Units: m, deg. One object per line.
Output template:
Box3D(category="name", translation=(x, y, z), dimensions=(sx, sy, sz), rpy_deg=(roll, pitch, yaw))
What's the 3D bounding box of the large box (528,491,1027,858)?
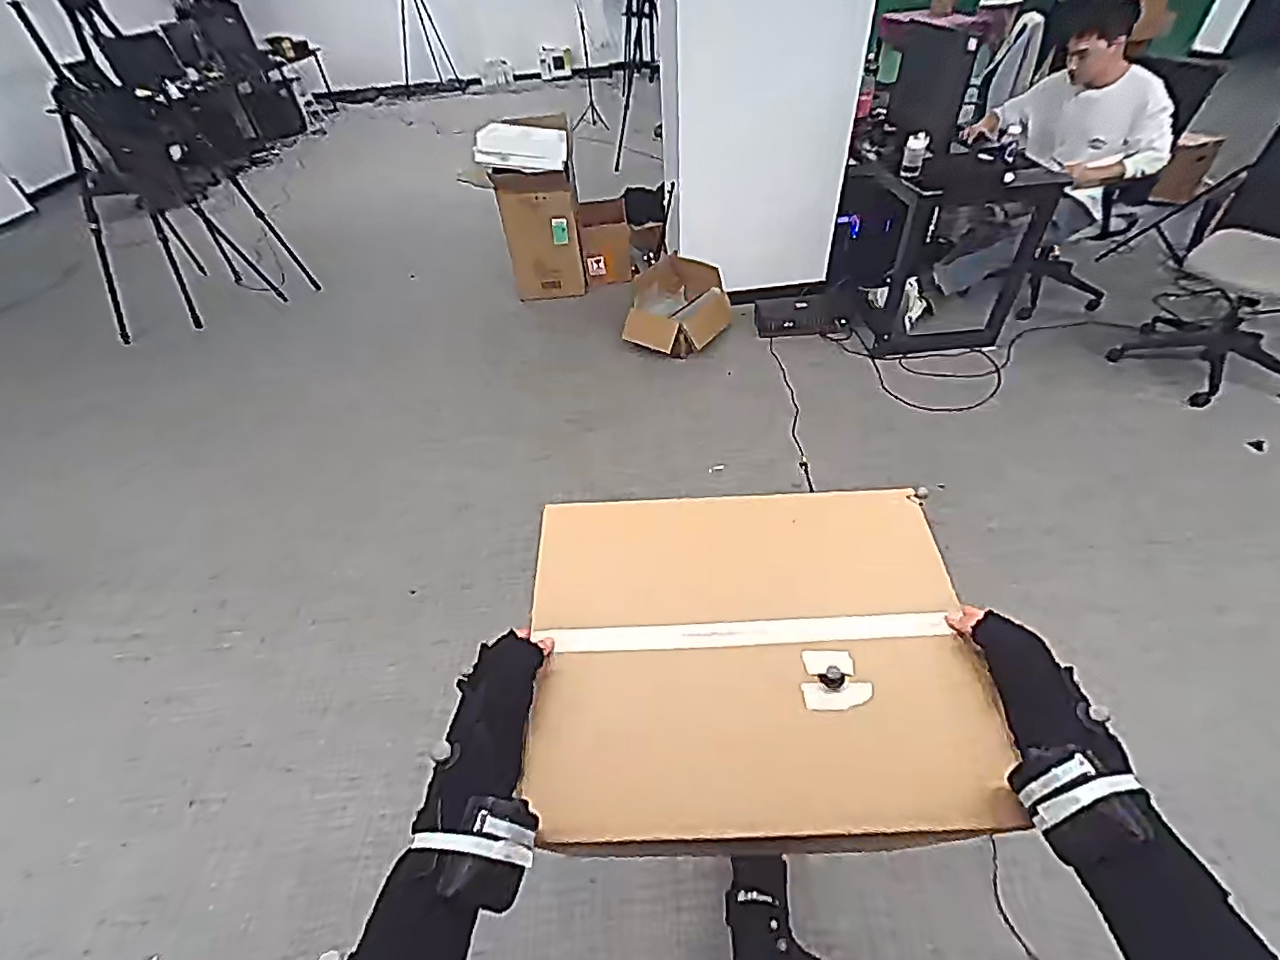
Box3D(category="large box", translation=(0.106, 0.235, 0.630), dimensions=(0.408, 0.320, 0.320), rpy_deg=(-3, 53, 1))
